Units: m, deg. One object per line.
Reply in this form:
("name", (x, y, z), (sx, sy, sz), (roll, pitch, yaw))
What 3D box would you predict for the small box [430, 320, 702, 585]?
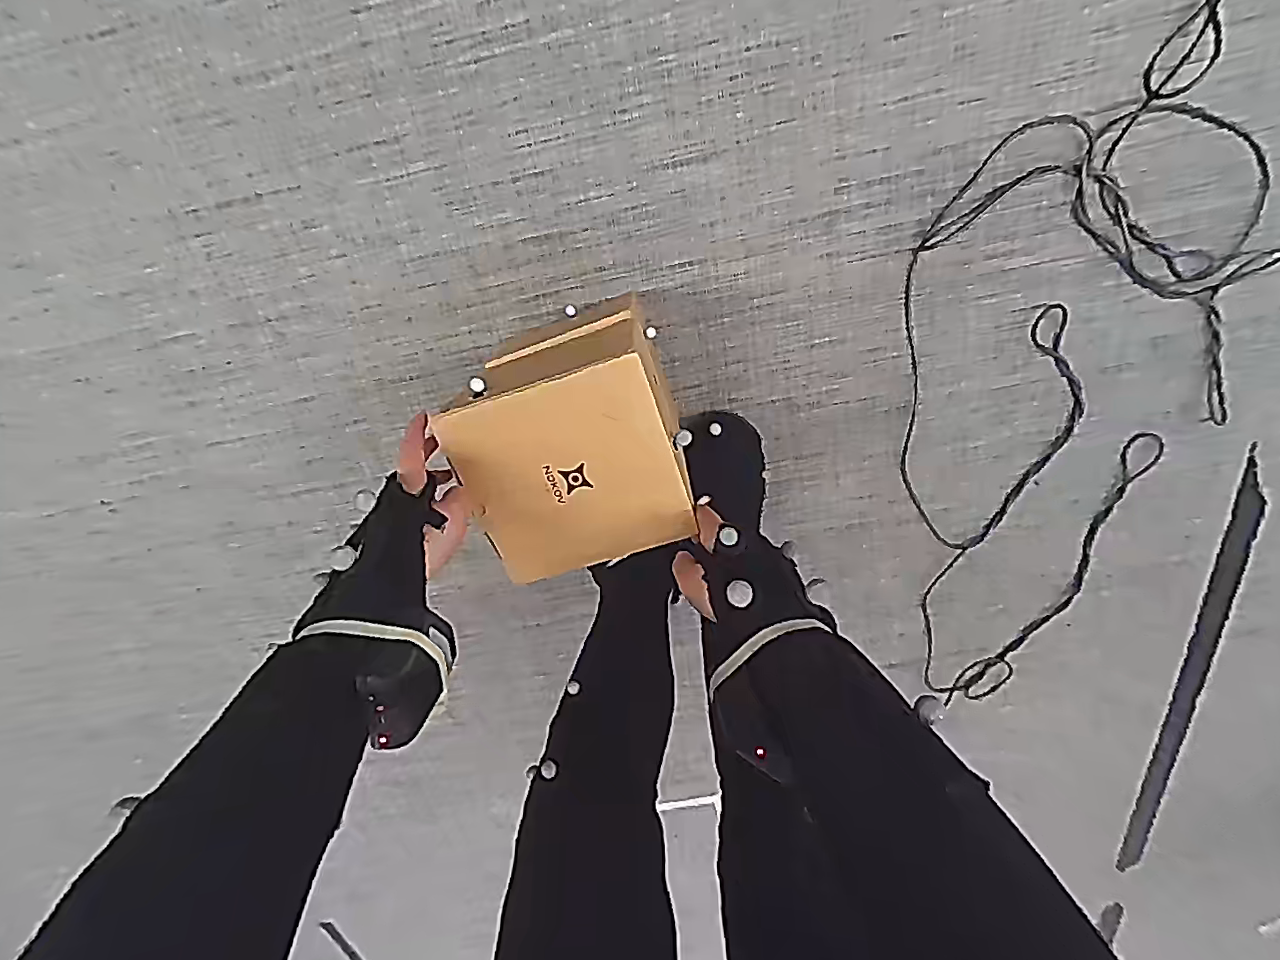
("small box", (-0.055, -0.036, 0.502), (0.179, 0.176, 0.168), (-17, 113, 8))
